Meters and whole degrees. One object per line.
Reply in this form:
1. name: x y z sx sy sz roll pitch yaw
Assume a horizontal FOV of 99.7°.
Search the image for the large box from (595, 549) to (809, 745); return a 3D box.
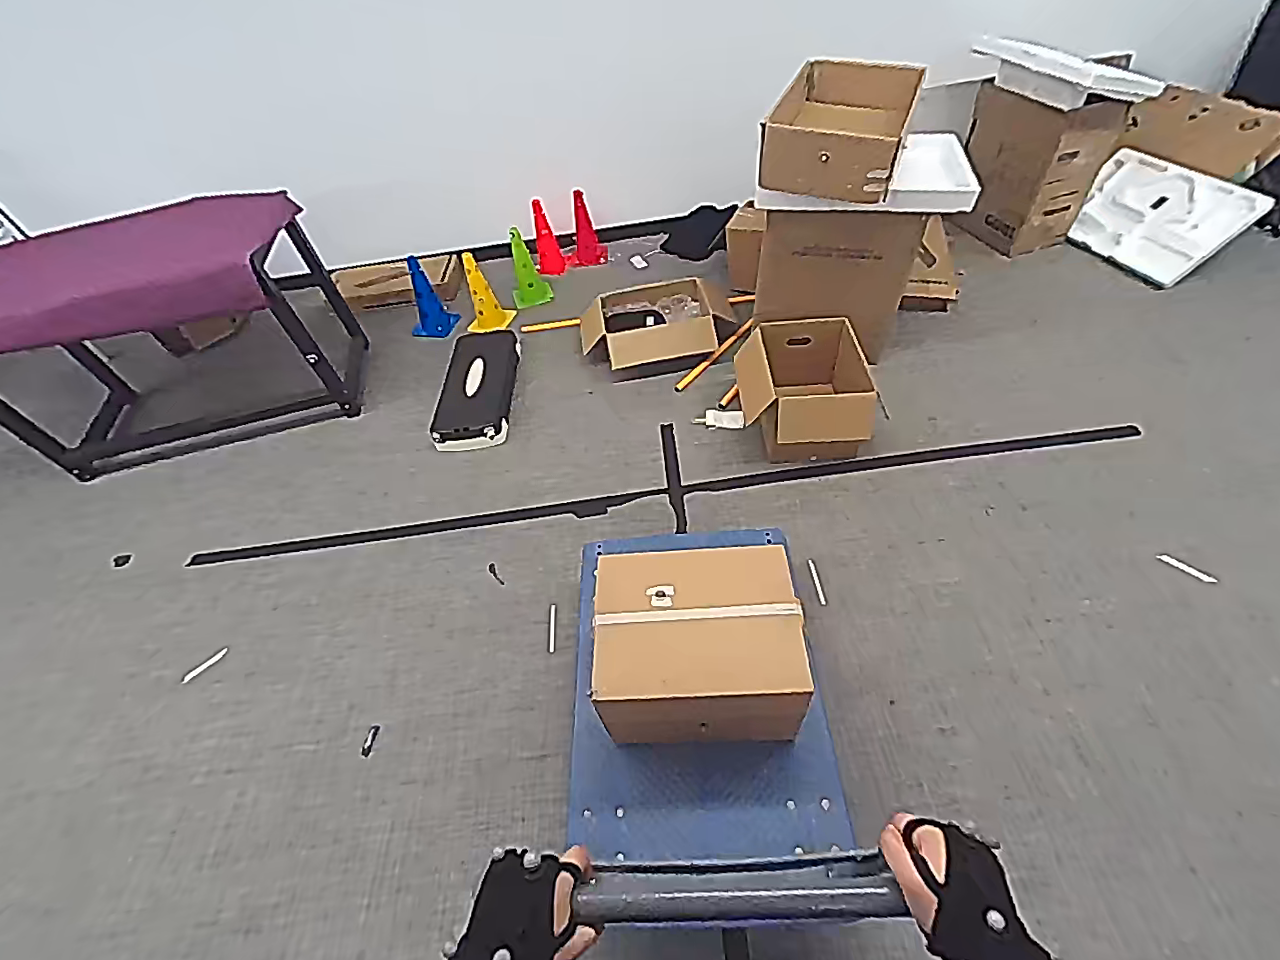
1. large box: 0.128 0.380 1.204 0.408 0.320 0.320 -5 49 5
